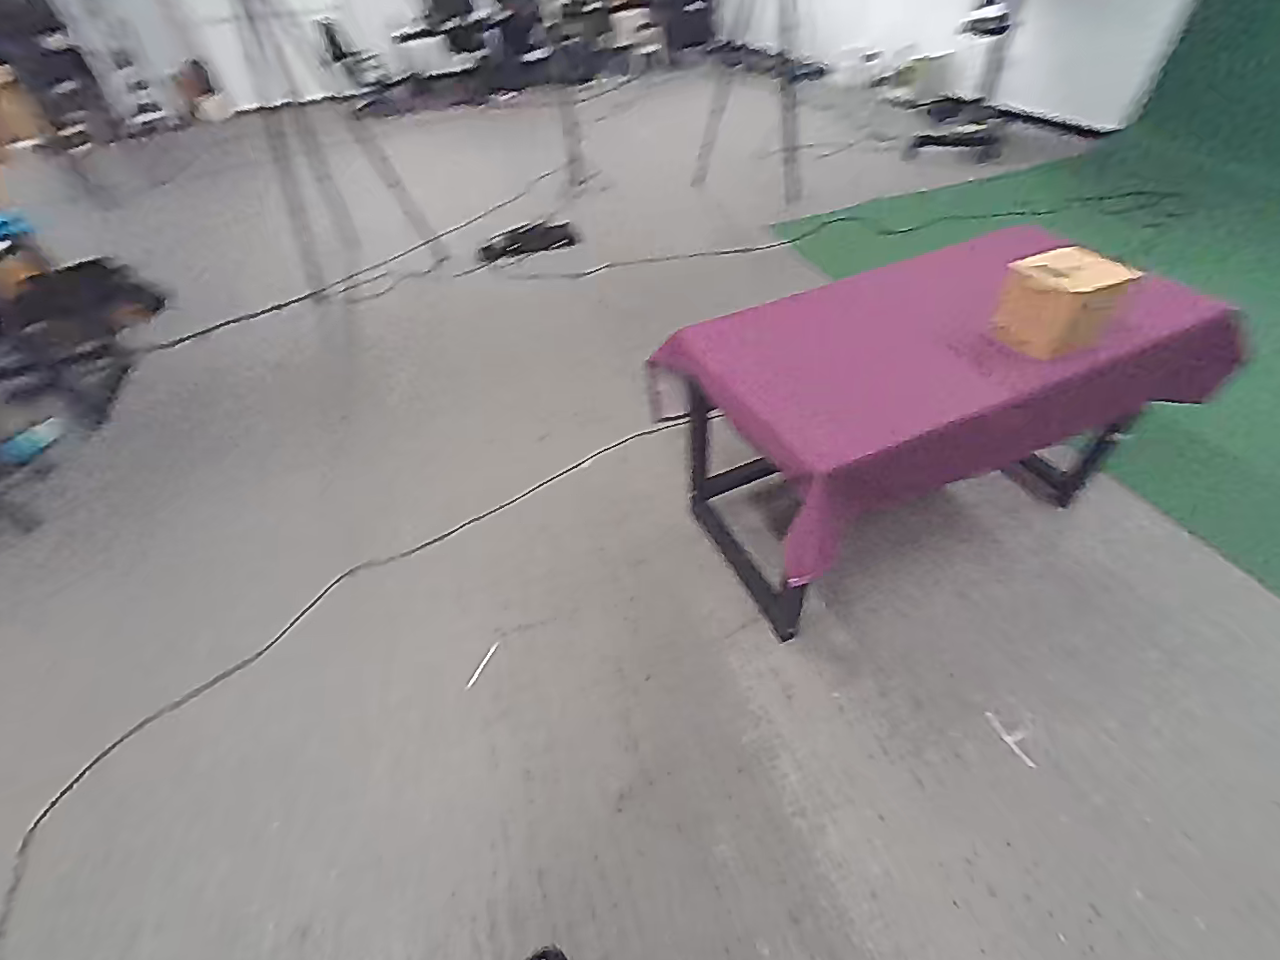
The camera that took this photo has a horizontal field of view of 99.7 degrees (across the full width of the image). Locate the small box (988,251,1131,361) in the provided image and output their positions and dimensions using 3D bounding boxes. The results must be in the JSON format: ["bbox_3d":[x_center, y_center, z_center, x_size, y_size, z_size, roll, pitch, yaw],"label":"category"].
[{"bbox_3d":[0.932,-0.392,1.228,0.179,0.176,0.168,-19,47,-13],"label":"small box"}]
